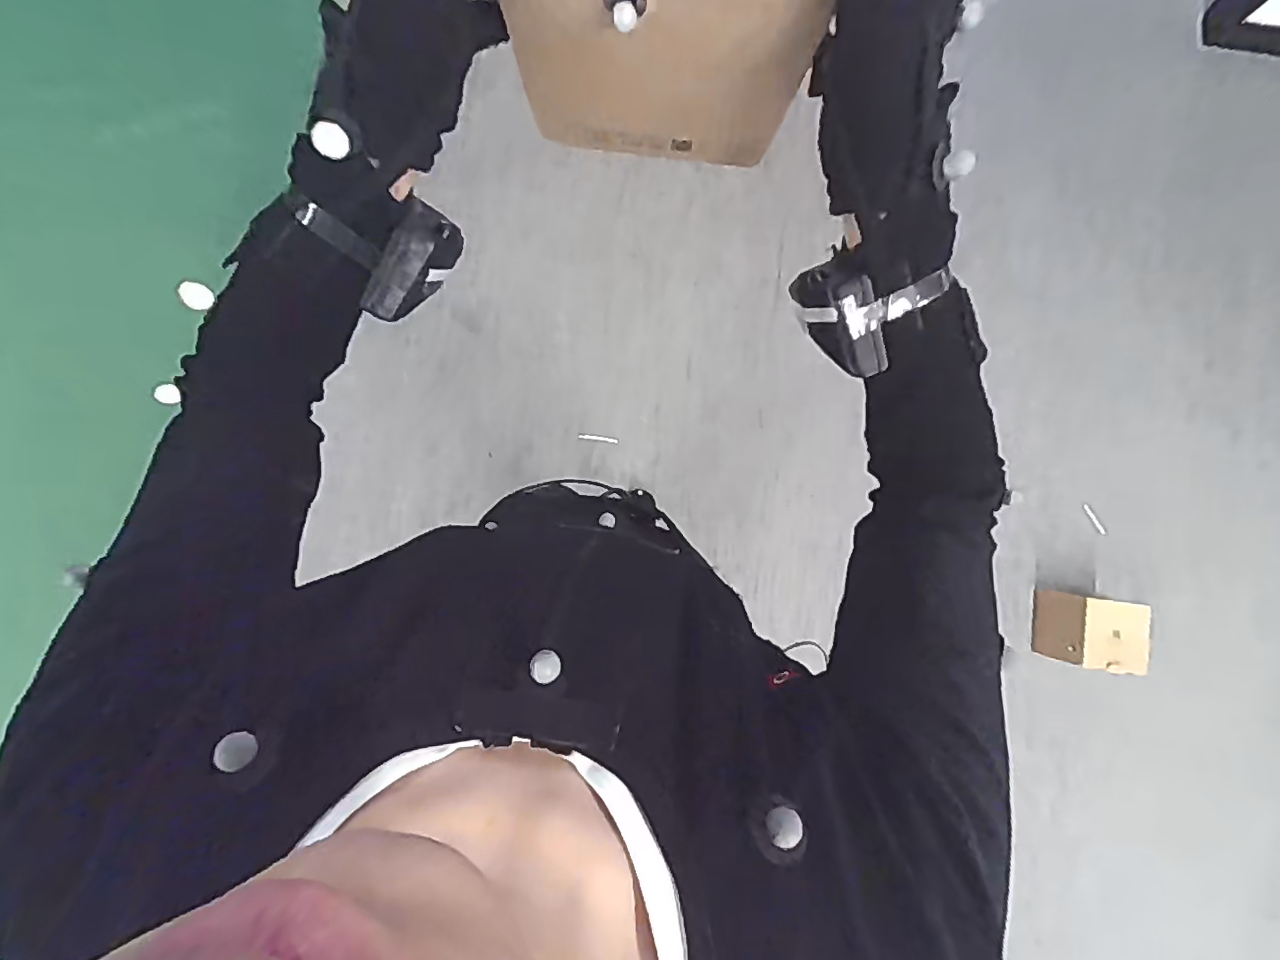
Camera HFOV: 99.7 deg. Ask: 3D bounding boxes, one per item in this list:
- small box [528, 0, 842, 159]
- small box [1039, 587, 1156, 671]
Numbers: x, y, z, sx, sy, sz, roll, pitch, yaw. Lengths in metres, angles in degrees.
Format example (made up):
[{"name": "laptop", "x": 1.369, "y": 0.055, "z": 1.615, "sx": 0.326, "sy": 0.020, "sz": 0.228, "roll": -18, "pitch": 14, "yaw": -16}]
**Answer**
[{"name": "small box", "x": 0.025, "y": -0.327, "z": 0.313, "sx": 0.168, "sy": 0.176, "sz": 0.179, "roll": 6, "pitch": 94, "yaw": -1}, {"name": "small box", "x": 1.186, "y": 0.381, "z": 1.412, "sx": 0.168, "sy": 0.176, "sz": 0.179, "roll": 7, "pitch": 86, "yaw": 0}]
